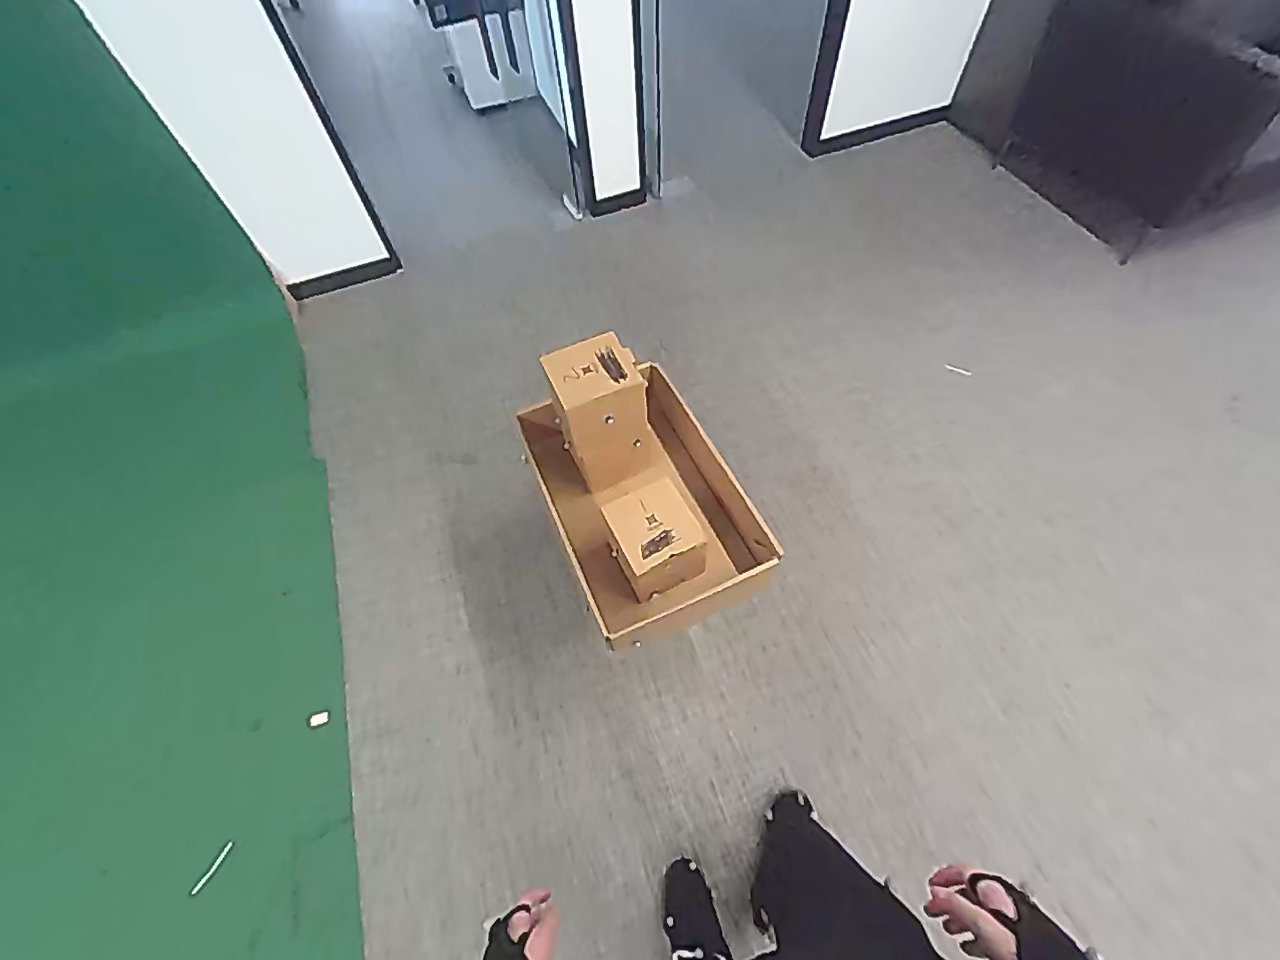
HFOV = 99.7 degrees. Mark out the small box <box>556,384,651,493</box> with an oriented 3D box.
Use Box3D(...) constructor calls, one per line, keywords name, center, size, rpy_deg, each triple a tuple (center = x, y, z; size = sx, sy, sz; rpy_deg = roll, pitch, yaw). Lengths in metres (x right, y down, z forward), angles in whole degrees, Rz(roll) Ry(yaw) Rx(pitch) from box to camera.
Box3D(name="small box", center=(-0.083, -0.096, 1.323), size=(0.179, 0.176, 0.168), rpy_deg=(-25, 59, -12))
